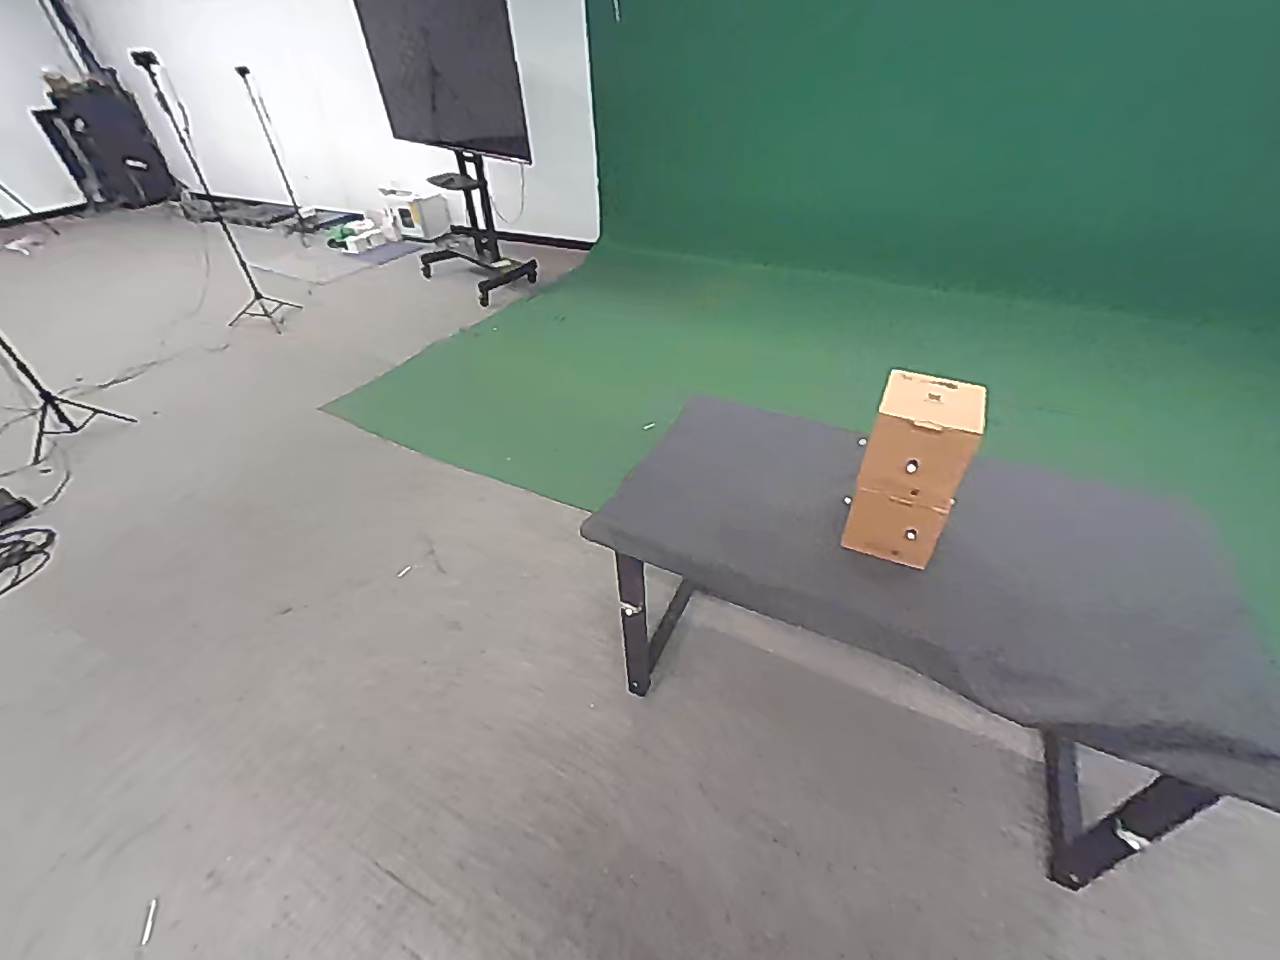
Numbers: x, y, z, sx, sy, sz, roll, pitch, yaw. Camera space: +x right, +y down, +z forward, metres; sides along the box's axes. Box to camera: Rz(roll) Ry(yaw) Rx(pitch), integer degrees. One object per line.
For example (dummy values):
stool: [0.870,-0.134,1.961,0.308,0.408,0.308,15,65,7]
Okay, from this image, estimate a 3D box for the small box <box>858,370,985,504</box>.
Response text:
small box: [0.529,-0.081,1.027,0.168,0.176,0.179,19,45,21]

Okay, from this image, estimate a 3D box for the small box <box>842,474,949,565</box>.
small box: [0.532,0.048,1.129,0.168,0.176,0.179,17,43,20]
